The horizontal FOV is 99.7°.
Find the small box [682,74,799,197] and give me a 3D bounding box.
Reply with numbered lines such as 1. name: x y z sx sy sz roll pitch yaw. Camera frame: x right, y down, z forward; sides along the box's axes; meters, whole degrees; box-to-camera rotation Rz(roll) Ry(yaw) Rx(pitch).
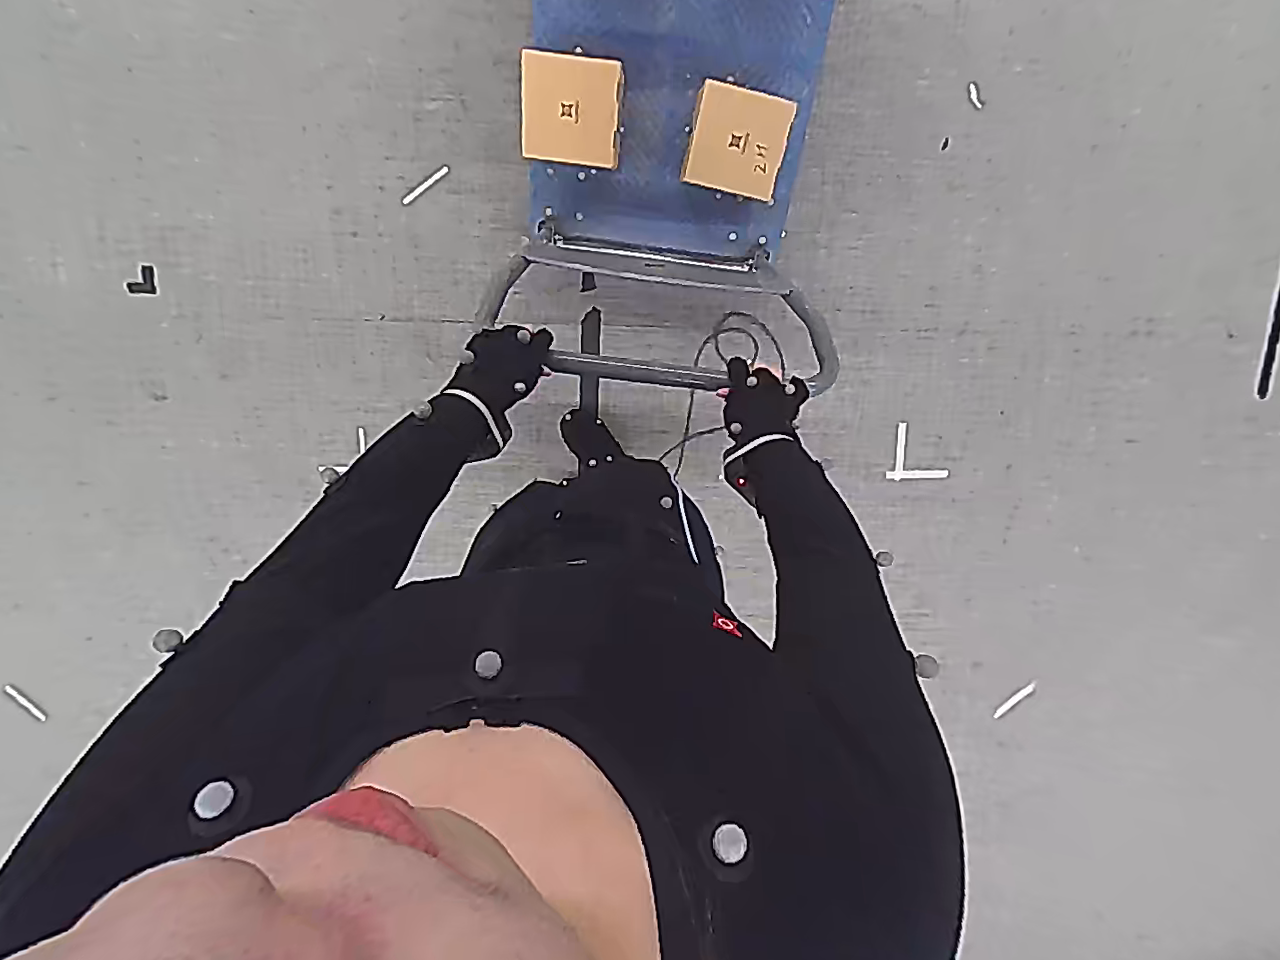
1. small box: 0.186 -0.671 1.072 0.179 0.176 0.168 11 119 -6

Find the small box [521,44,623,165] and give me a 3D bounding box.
1. small box: -0.128 -0.716 1.049 0.179 0.176 0.168 4 119 -4
